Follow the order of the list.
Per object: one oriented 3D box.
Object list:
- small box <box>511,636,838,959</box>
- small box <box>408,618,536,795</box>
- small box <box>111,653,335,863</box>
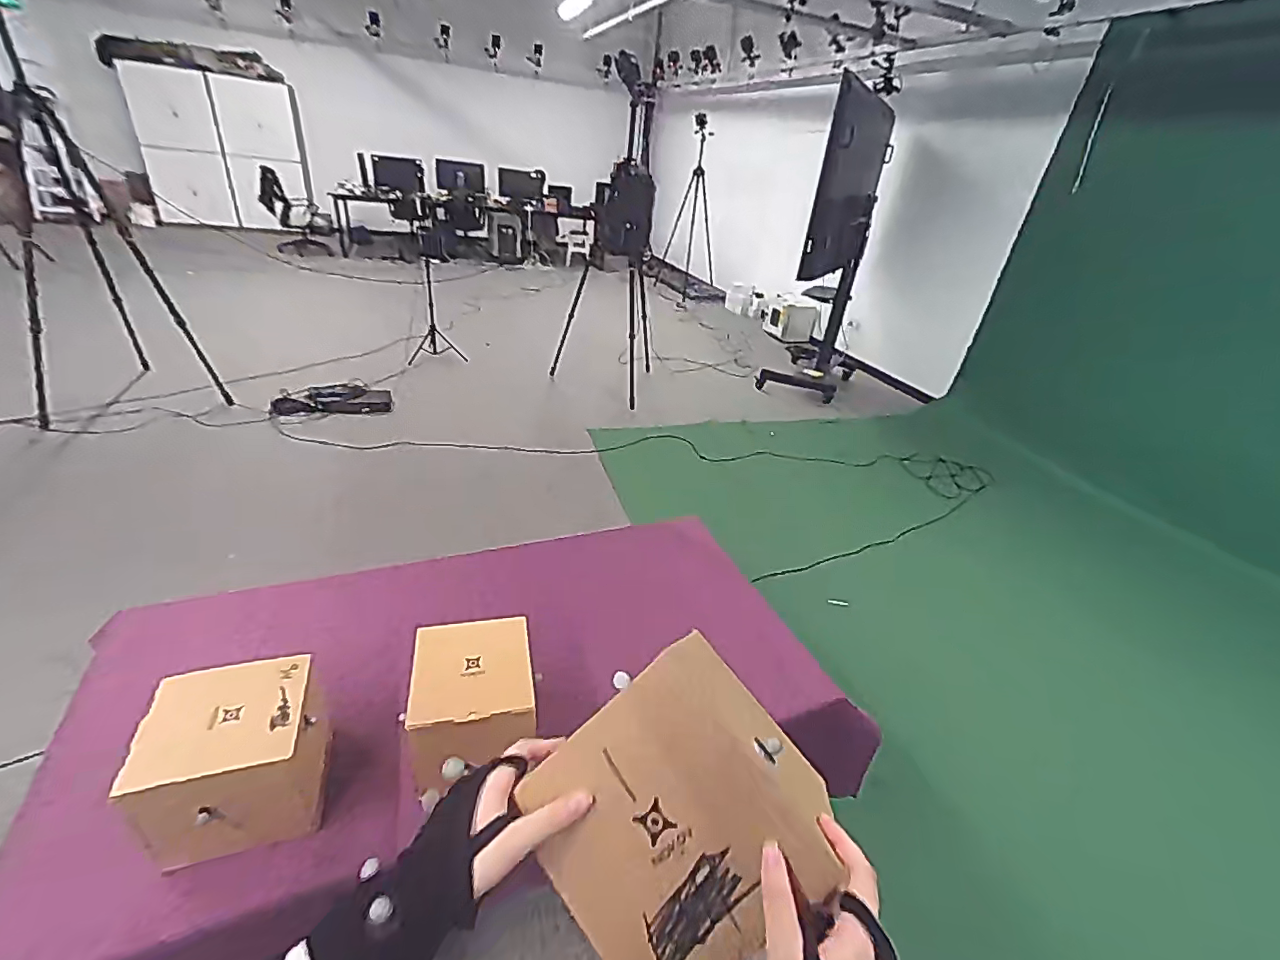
[{"bbox_3d":[0.034,0.249,0.449,0.179,0.168,0.176,49,2,18],"label":"small box"},{"bbox_3d":[-0.250,0.338,0.823,0.168,0.176,0.179,-3,33,-16],"label":"small box"},{"bbox_3d":[-0.527,0.365,0.717,0.179,0.176,0.168,-6,34,-20],"label":"small box"}]
